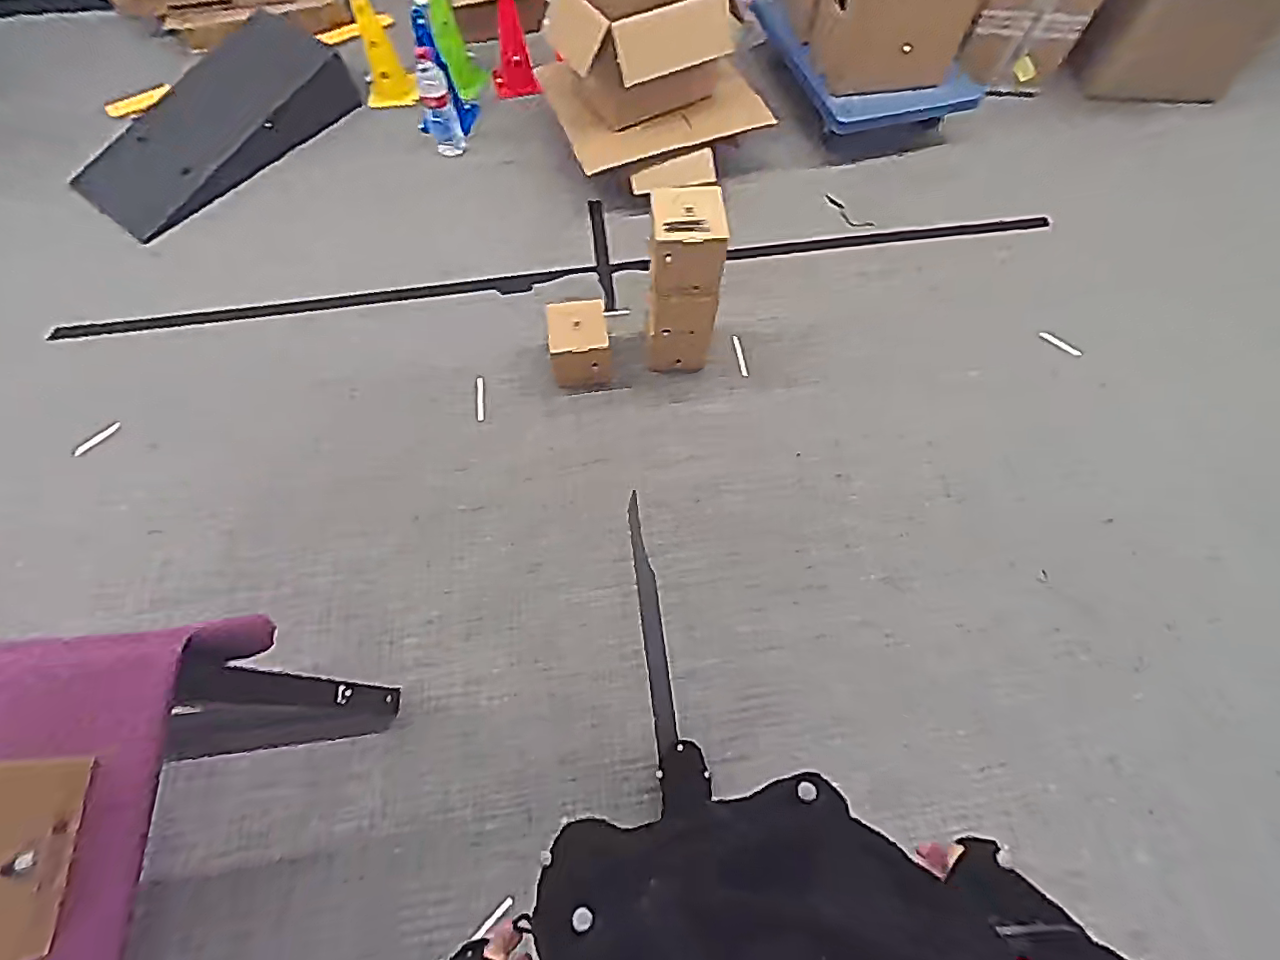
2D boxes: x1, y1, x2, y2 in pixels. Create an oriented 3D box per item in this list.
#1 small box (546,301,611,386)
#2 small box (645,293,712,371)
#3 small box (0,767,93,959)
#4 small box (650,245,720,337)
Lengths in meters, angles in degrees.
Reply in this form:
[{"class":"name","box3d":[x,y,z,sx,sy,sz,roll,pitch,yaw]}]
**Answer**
[{"class":"small box","box3d":[-0.178,-0.392,1.584,0.168,0.176,0.179,-8,65,-5]},{"class":"small box","box3d":[0.109,-0.438,1.608,0.179,0.176,0.168,-2,66,-3]},{"class":"small box","box3d":[-0.627,0.341,0.439,0.179,0.176,0.168,-7,67,-3]},{"class":"small box","box3d":[0.114,-0.501,1.455,0.168,0.176,0.179,-4,65,-3]}]
